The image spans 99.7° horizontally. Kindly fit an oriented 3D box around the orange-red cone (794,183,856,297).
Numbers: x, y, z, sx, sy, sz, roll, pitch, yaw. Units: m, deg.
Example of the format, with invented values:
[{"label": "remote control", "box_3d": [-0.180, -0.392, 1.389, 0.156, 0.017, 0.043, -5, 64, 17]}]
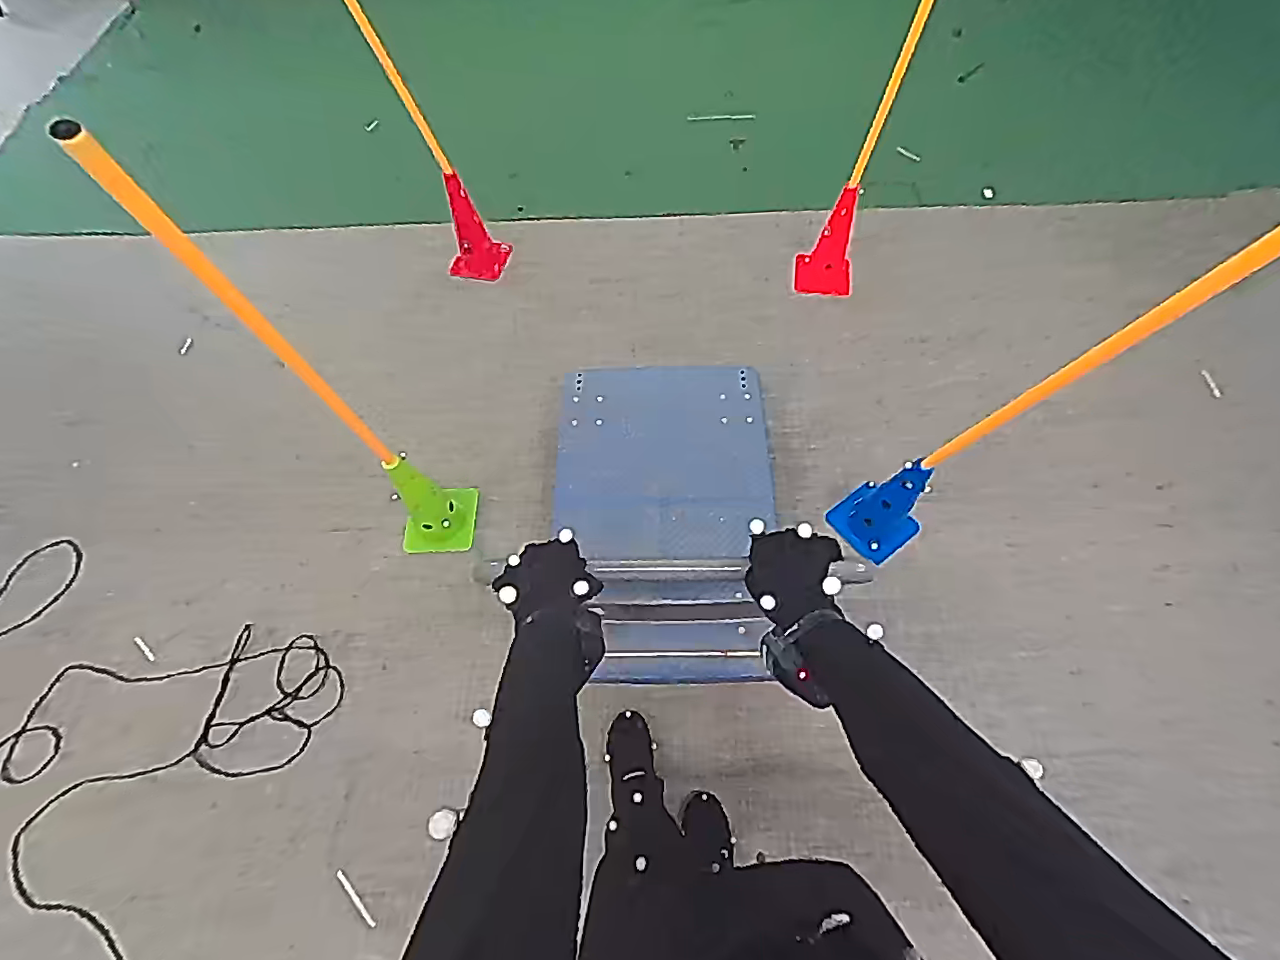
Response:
[{"label": "orange-red cone", "box_3d": [0.662, -0.826, 1.829, 0.198, 0.360, 0.199, 9, 65, 8]}]
